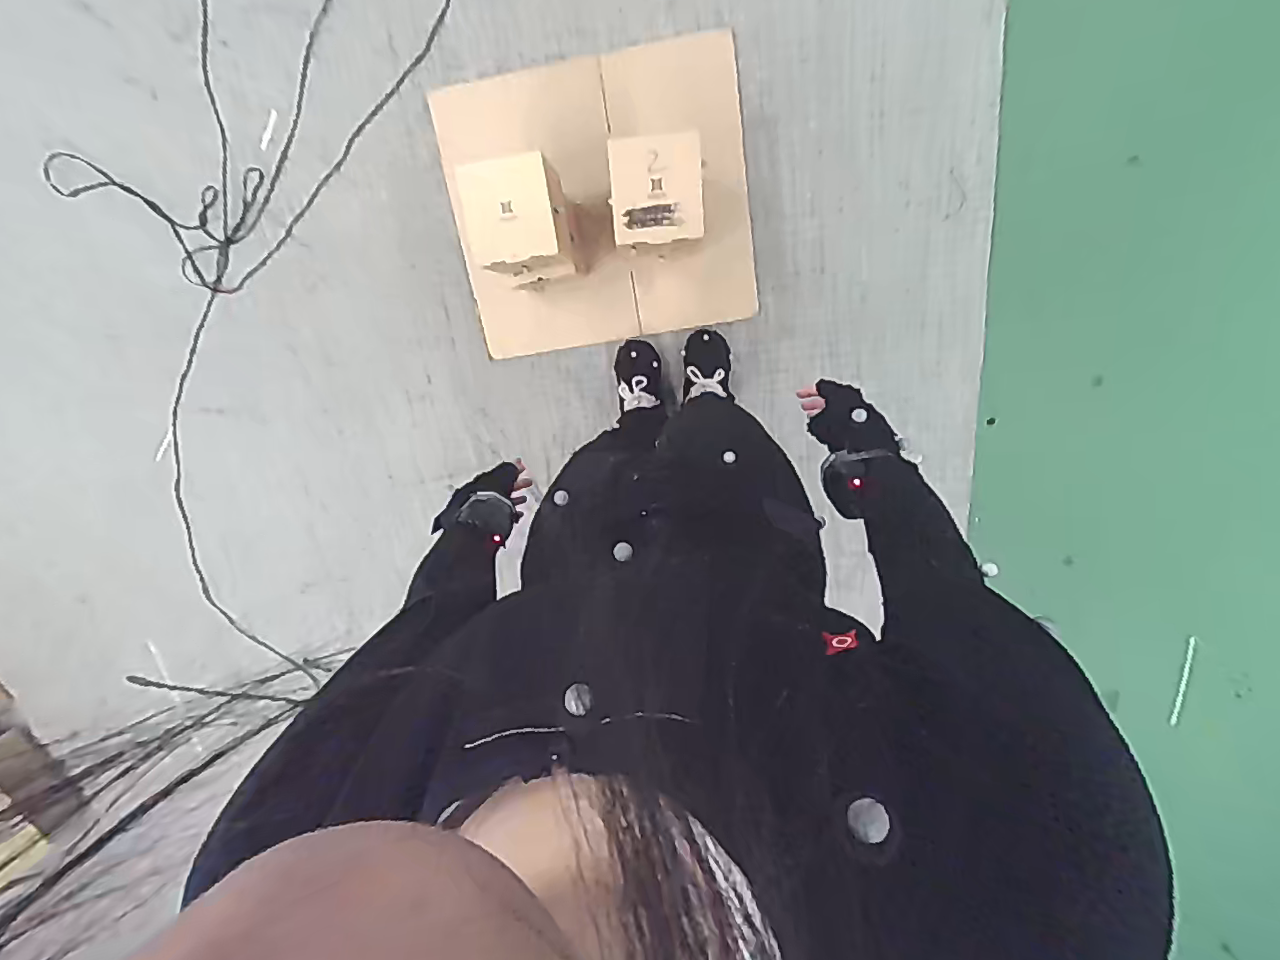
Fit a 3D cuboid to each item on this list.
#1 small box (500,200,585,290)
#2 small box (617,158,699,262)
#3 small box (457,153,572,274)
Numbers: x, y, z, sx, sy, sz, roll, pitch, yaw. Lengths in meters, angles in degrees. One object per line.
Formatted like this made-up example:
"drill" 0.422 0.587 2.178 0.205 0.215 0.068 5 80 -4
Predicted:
"small box" -0.230 -0.538 1.234 0.168 0.176 0.179 -10 107 6
"small box" 0.042 -0.592 1.205 0.168 0.176 0.179 -3 108 5
"small box" -0.238 -0.516 1.070 0.168 0.176 0.179 -7 107 5
